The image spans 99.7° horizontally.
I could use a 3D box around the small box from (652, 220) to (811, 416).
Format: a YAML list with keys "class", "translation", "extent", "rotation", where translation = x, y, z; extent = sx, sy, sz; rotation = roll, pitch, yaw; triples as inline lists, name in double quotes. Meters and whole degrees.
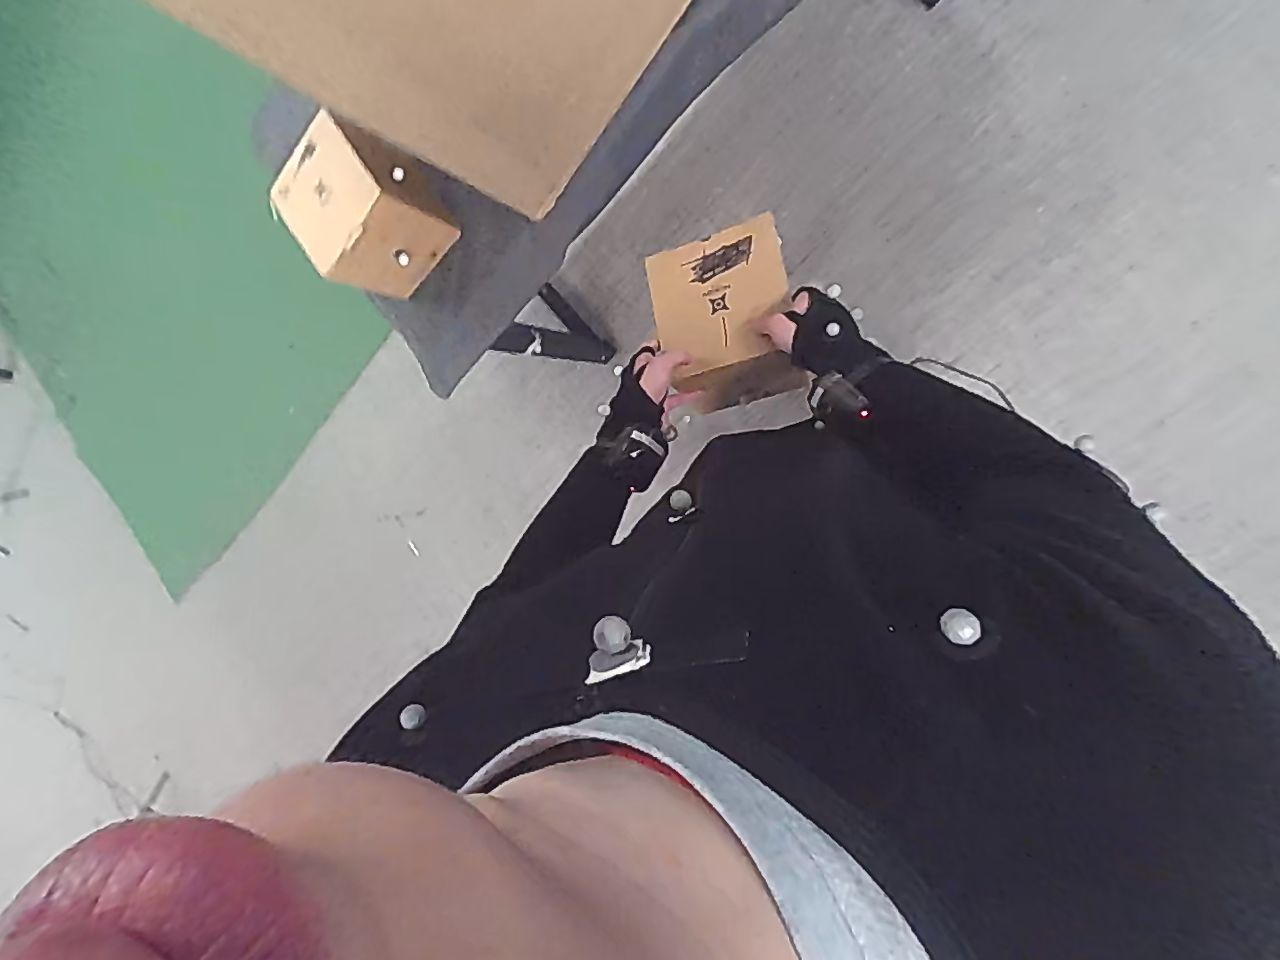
- class: "small box"
  translation: [0.130, -0.207, 0.738]
  extent: [0.168, 0.176, 0.179]
  rotation: [-13, 77, 20]
